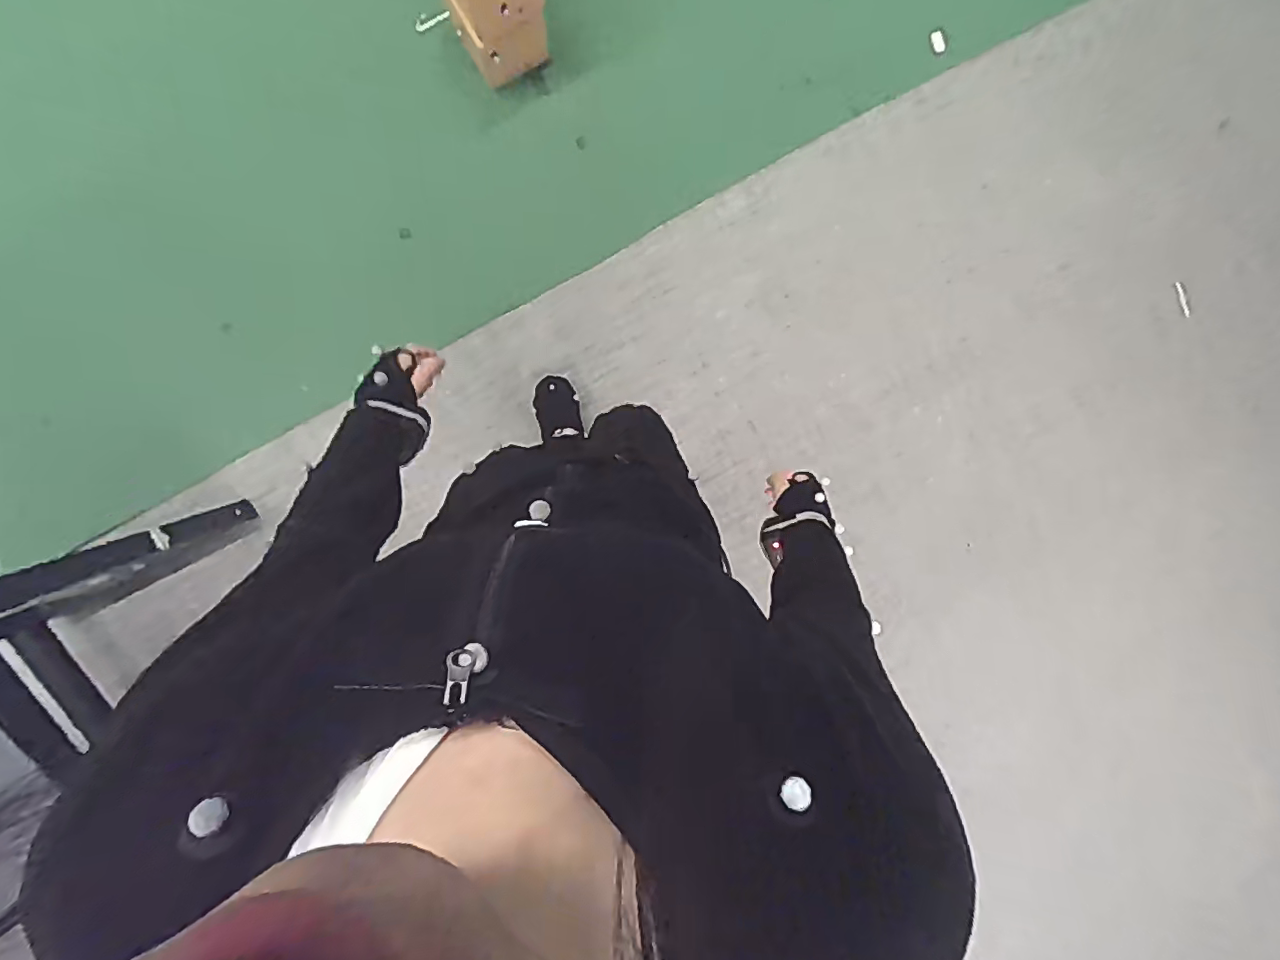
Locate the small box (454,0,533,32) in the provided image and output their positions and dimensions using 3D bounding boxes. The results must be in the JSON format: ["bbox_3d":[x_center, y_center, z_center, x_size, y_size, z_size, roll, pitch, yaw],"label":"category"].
[{"bbox_3d":[-0.316,-1.038,1.044,0.168,0.176,0.179,-33,101,0],"label":"small box"}]
